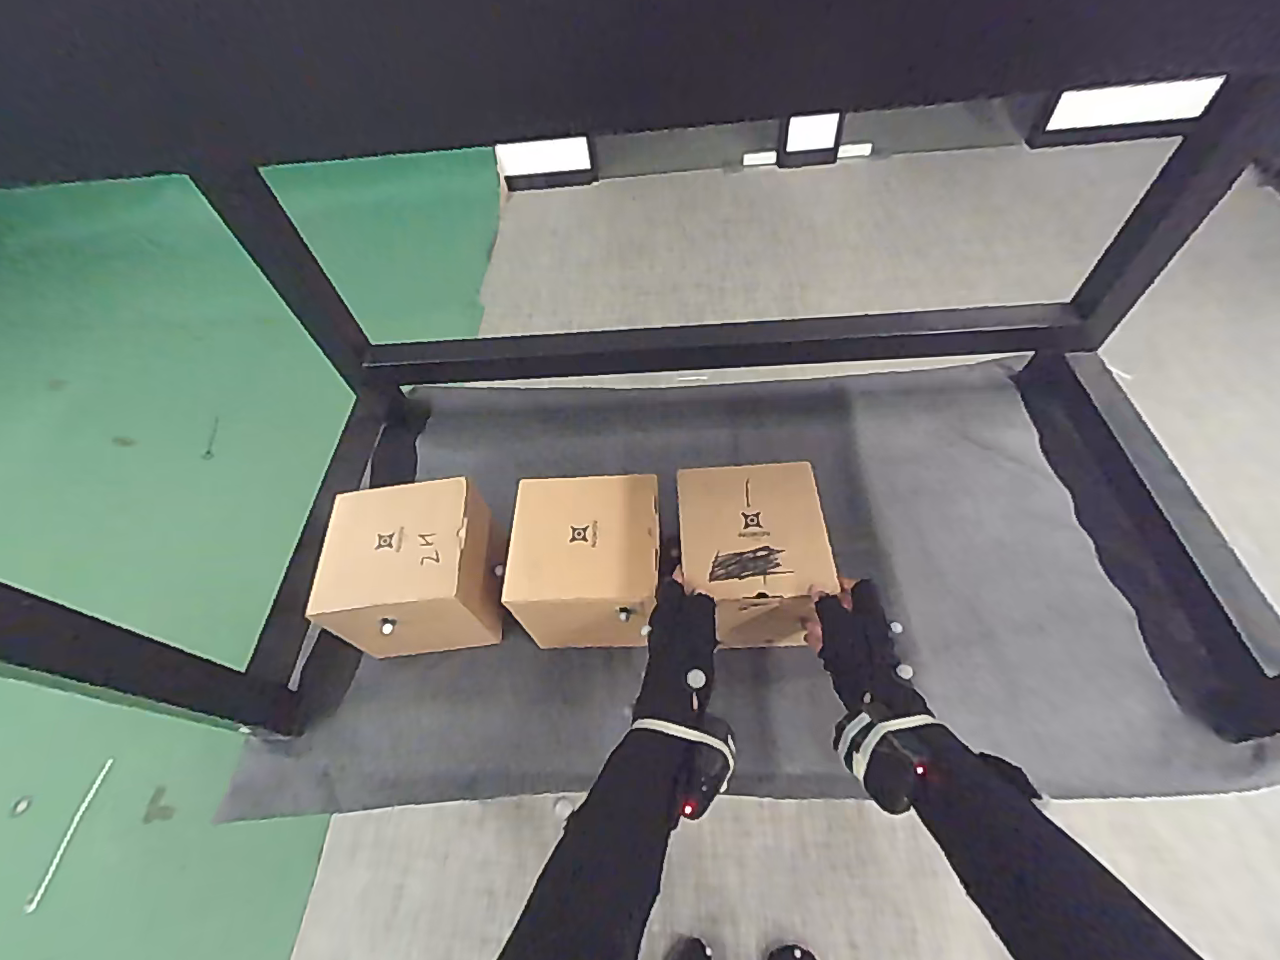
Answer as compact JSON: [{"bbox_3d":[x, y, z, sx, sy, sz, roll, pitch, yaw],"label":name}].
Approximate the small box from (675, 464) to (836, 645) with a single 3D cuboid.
[{"bbox_3d":[0.133,0.102,0.679,0.168,0.176,0.179,-3,55,5],"label":"small box"}]
